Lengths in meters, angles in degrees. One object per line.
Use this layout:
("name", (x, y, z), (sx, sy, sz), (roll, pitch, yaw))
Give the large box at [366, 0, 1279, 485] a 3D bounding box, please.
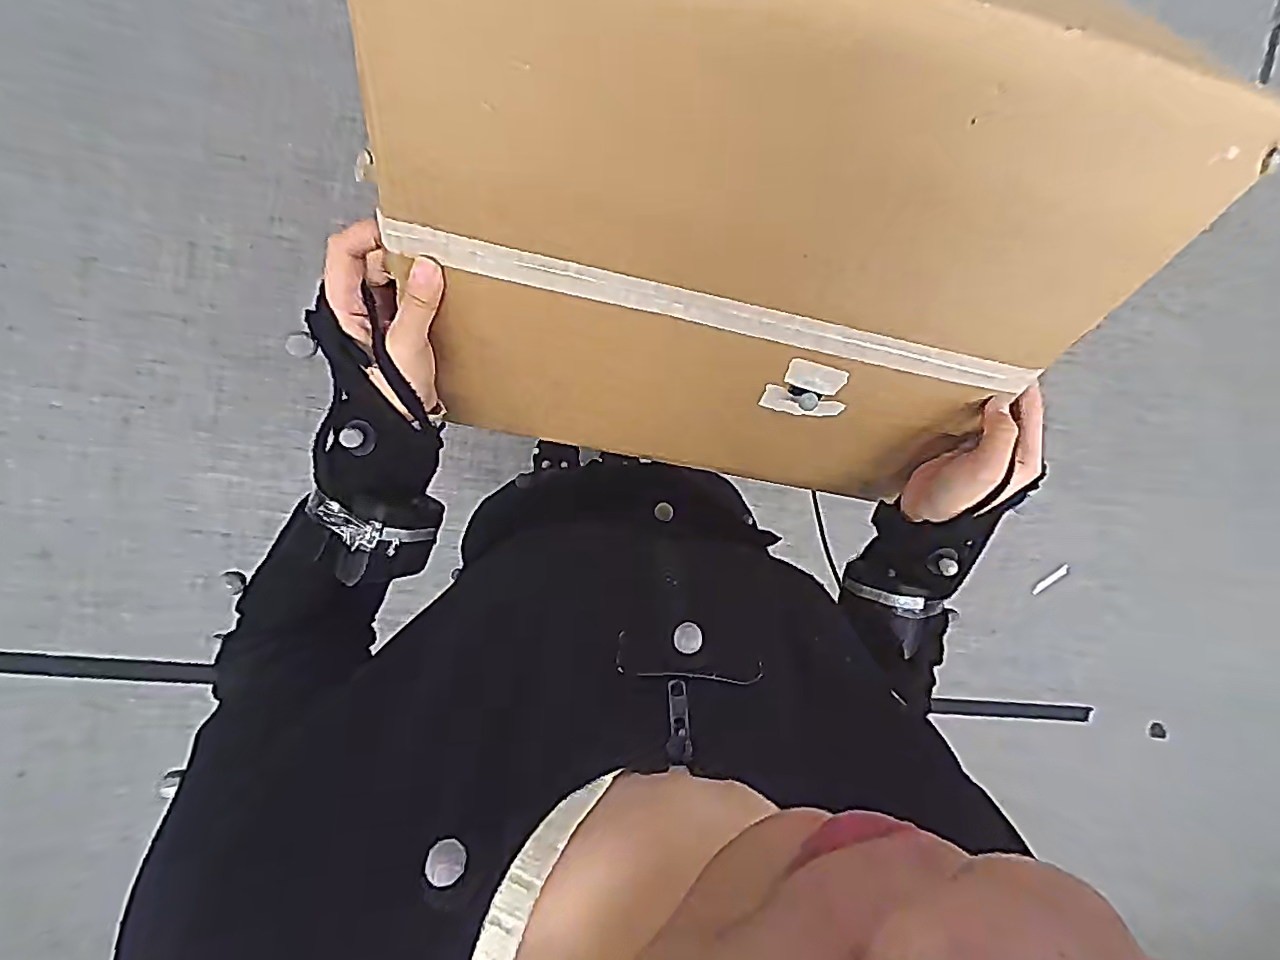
("large box", (0.065, -0.230, 0.417), (0.408, 0.320, 0.320), (9, 54, -8))
